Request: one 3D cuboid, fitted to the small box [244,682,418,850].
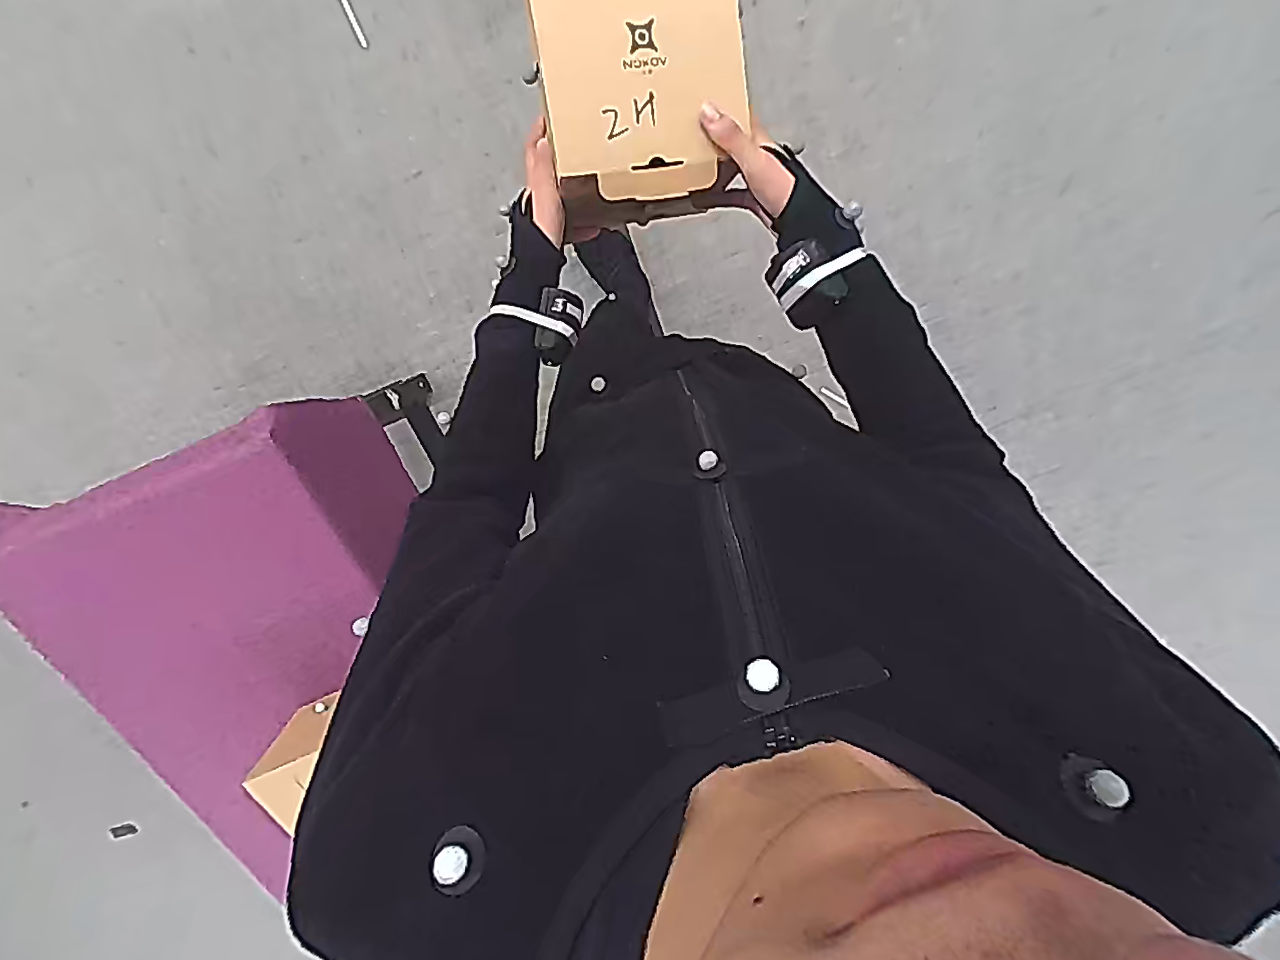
[{"bbox_3d":[-0.528,0.498,0.957,0.168,0.176,0.179,-25,108,7],"label":"small box"}]

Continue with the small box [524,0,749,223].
[{"bbox_3d":[-0.011,-0.360,0.499,0.168,0.176,0.179,-10,102,-5],"label":"small box"}]
